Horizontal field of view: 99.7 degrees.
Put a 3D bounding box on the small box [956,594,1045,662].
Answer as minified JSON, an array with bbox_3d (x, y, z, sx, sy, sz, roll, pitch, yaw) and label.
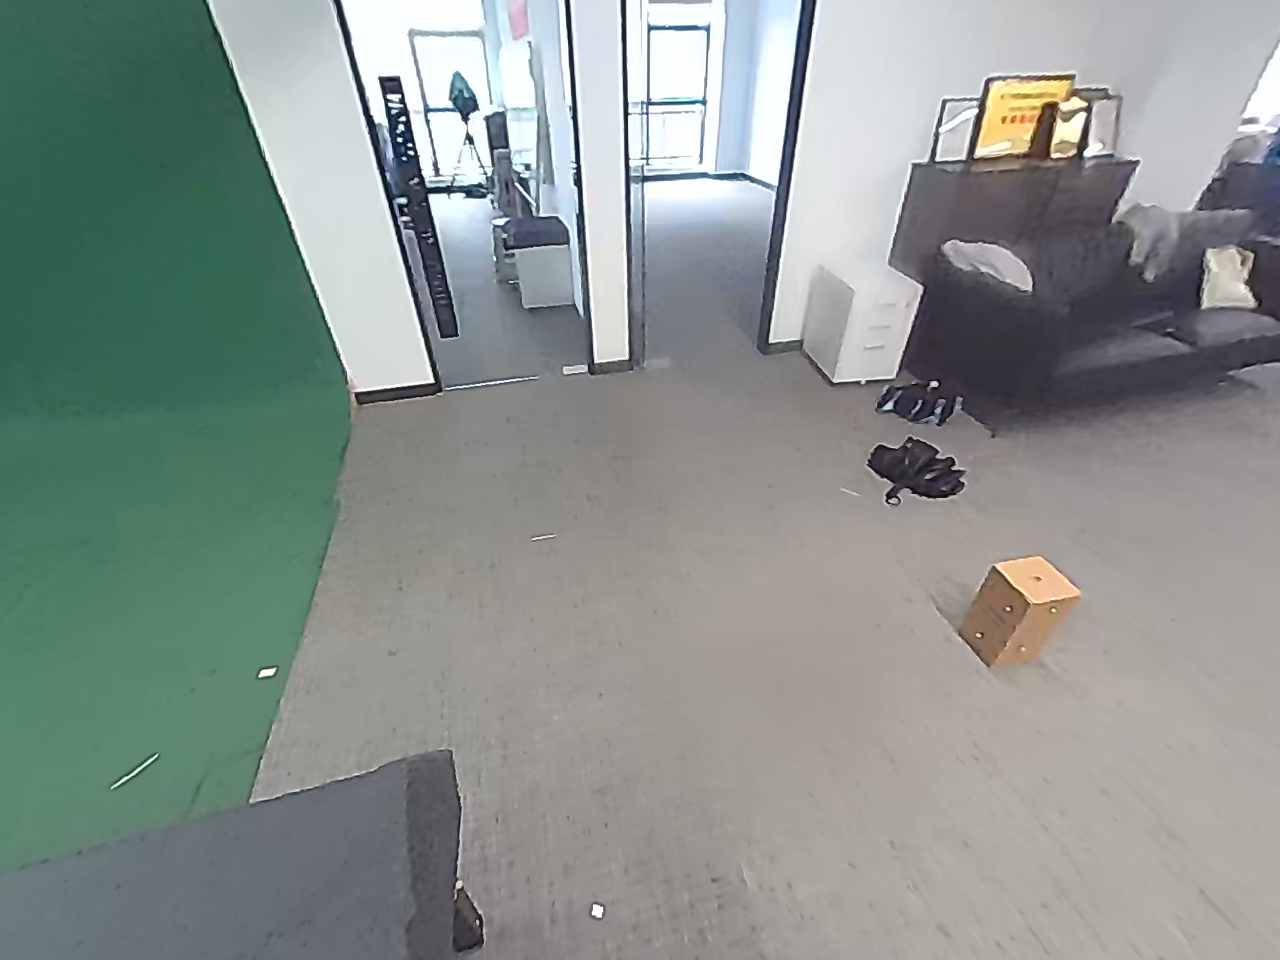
[{"bbox_3d":[1.205,0.490,1.829,0.179,0.176,0.168,-9,38,-10],"label":"small box"}]

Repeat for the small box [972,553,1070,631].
[{"bbox_3d":[1.203,0.362,1.729,0.179,0.176,0.168,-7,39,-11],"label":"small box"}]
